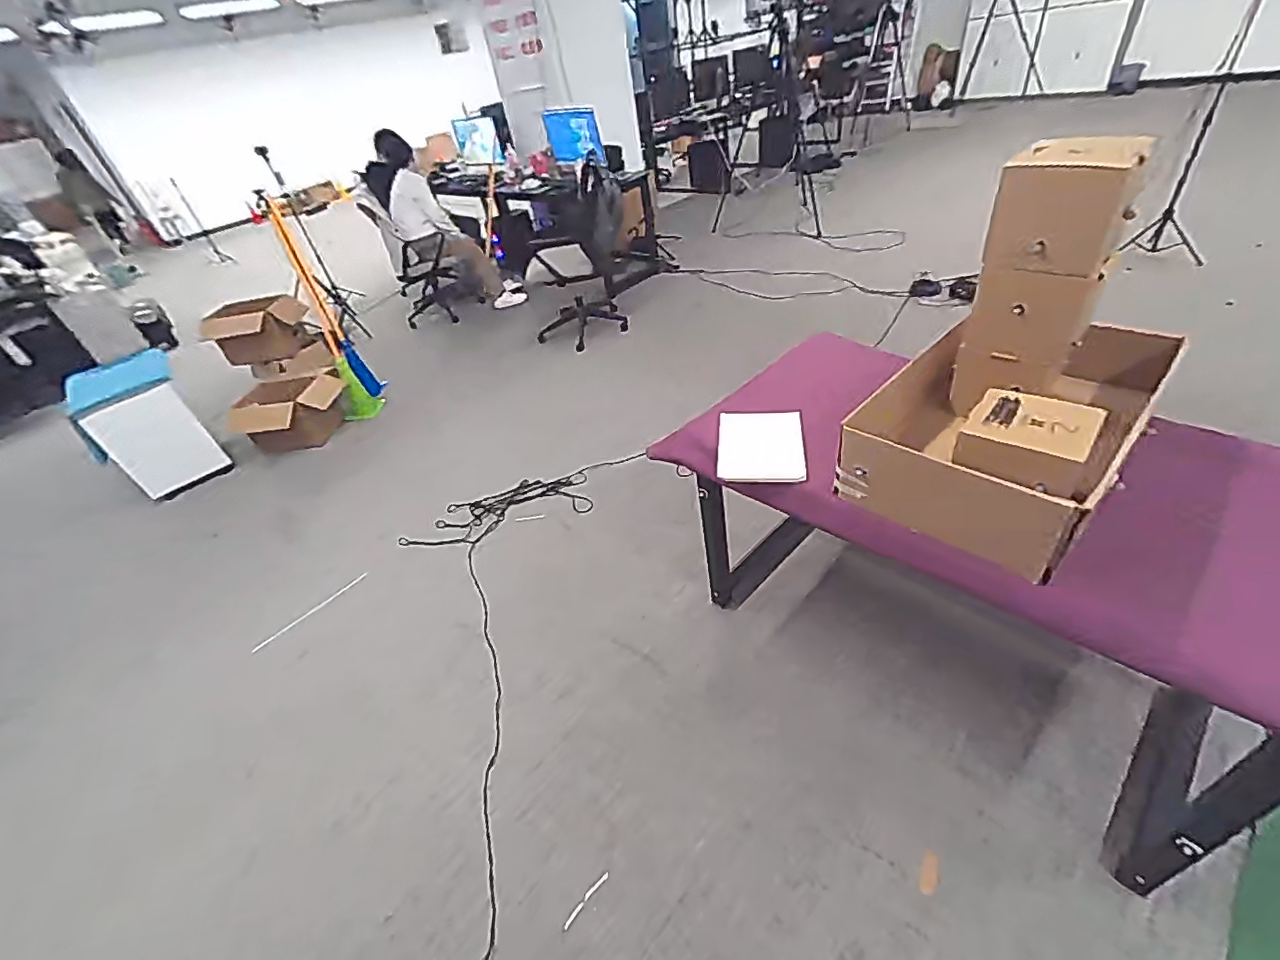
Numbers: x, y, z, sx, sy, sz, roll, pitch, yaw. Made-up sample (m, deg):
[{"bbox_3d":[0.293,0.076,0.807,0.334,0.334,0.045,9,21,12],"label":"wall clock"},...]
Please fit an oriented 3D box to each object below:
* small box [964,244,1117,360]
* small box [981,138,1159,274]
[{"bbox_3d":[0.766,-0.352,1.047,0.179,0.176,0.168,26,53,37],"label":"small box"},{"bbox_3d":[0.739,-0.478,0.945,0.168,0.176,0.179,-37,47,-27],"label":"small box"}]
